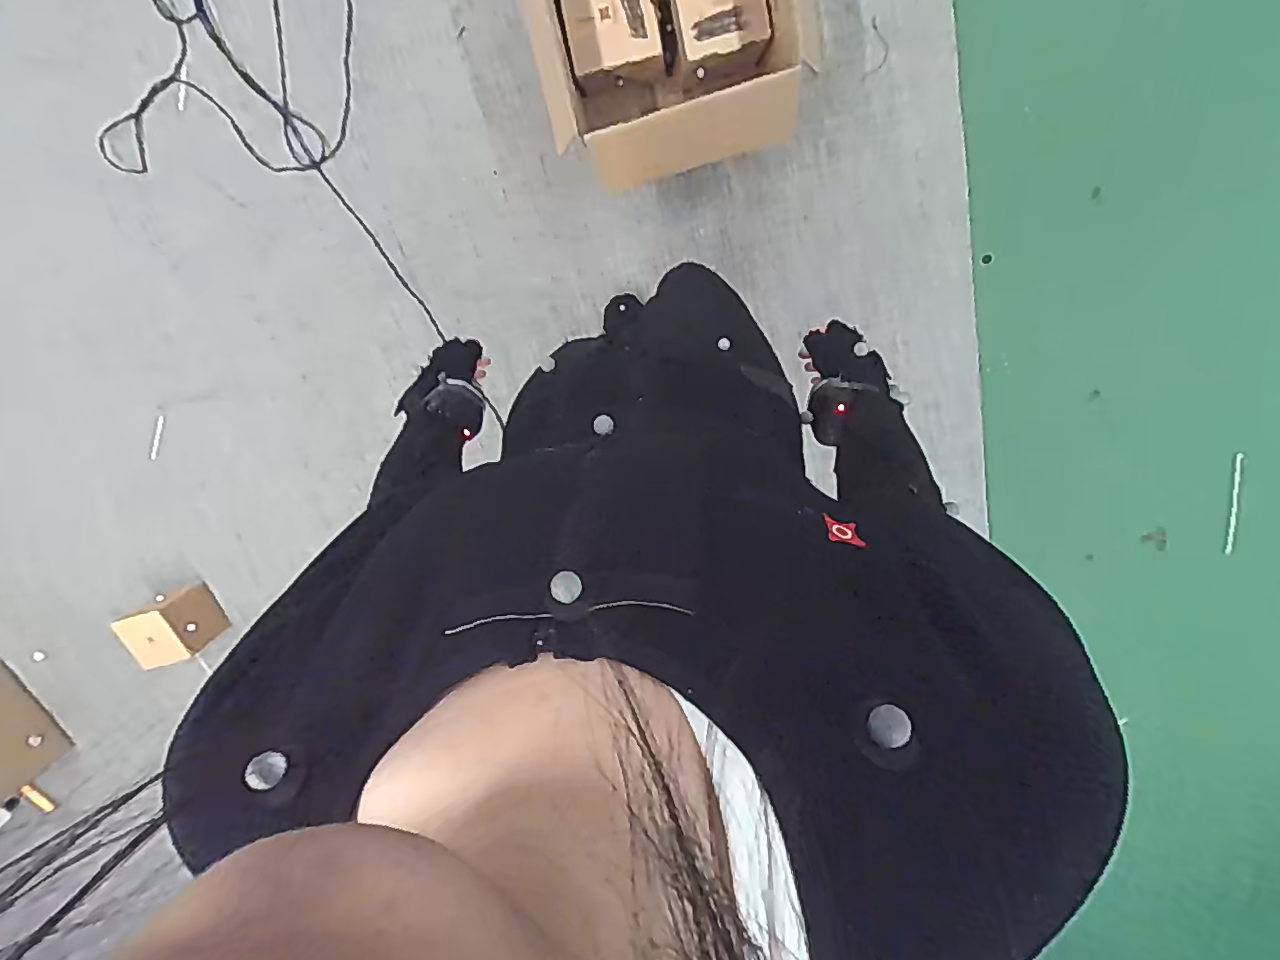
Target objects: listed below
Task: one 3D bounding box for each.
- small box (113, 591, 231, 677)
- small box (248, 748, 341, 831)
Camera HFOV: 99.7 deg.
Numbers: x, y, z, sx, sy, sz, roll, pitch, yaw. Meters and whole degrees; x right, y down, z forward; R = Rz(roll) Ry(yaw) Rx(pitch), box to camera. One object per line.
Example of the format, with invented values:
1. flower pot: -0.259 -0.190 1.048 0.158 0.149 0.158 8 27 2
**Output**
1. small box: -1.407 0.458 1.639 0.168 0.176 0.179 -17 110 7
2. small box: -1.182 1.064 1.865 0.179 0.176 0.168 -16 110 7
